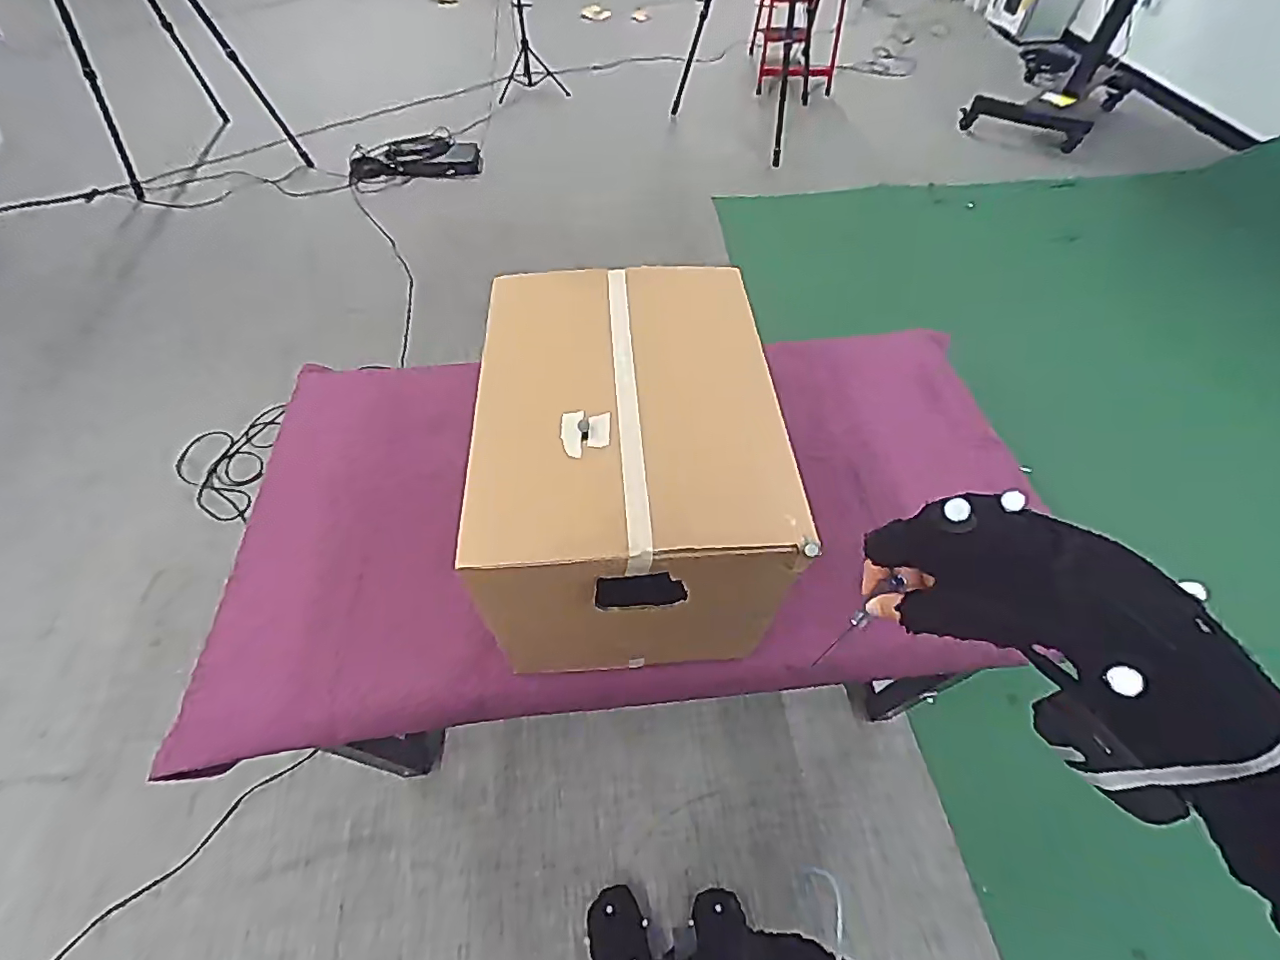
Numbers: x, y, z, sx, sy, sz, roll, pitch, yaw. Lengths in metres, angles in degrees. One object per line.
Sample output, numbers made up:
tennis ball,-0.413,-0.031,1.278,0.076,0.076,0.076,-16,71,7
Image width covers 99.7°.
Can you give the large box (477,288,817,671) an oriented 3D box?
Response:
large box,-0.011,0.001,0.712,0.320,0.320,0.408,-3,55,-3
